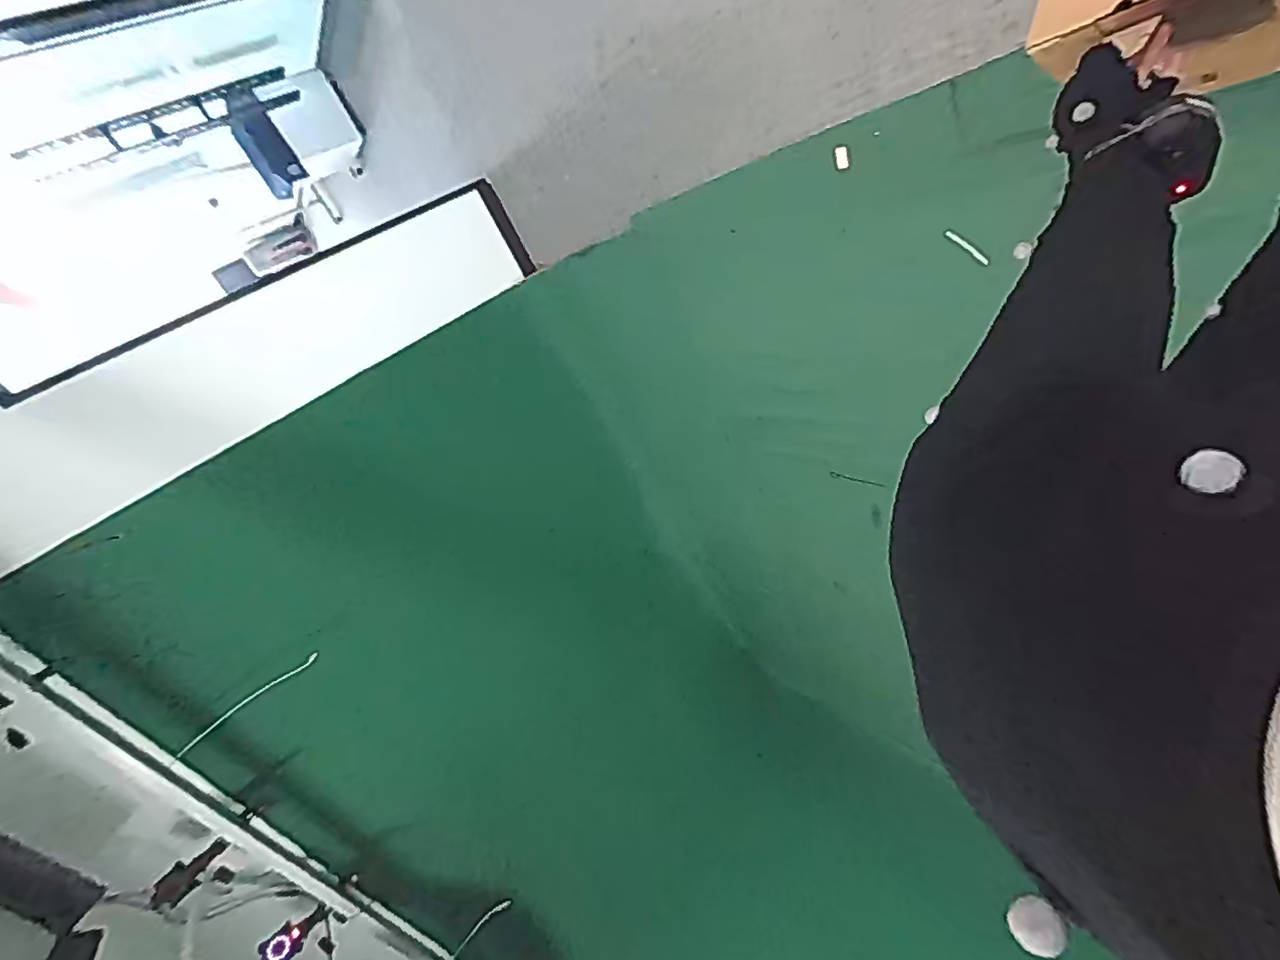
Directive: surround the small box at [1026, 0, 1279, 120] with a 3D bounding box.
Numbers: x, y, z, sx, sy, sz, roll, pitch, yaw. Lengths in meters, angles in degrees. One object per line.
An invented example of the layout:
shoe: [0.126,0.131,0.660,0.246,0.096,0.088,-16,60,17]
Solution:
small box: [0.531,-0.504,0.530,0.168,0.176,0.179,25,105,60]
